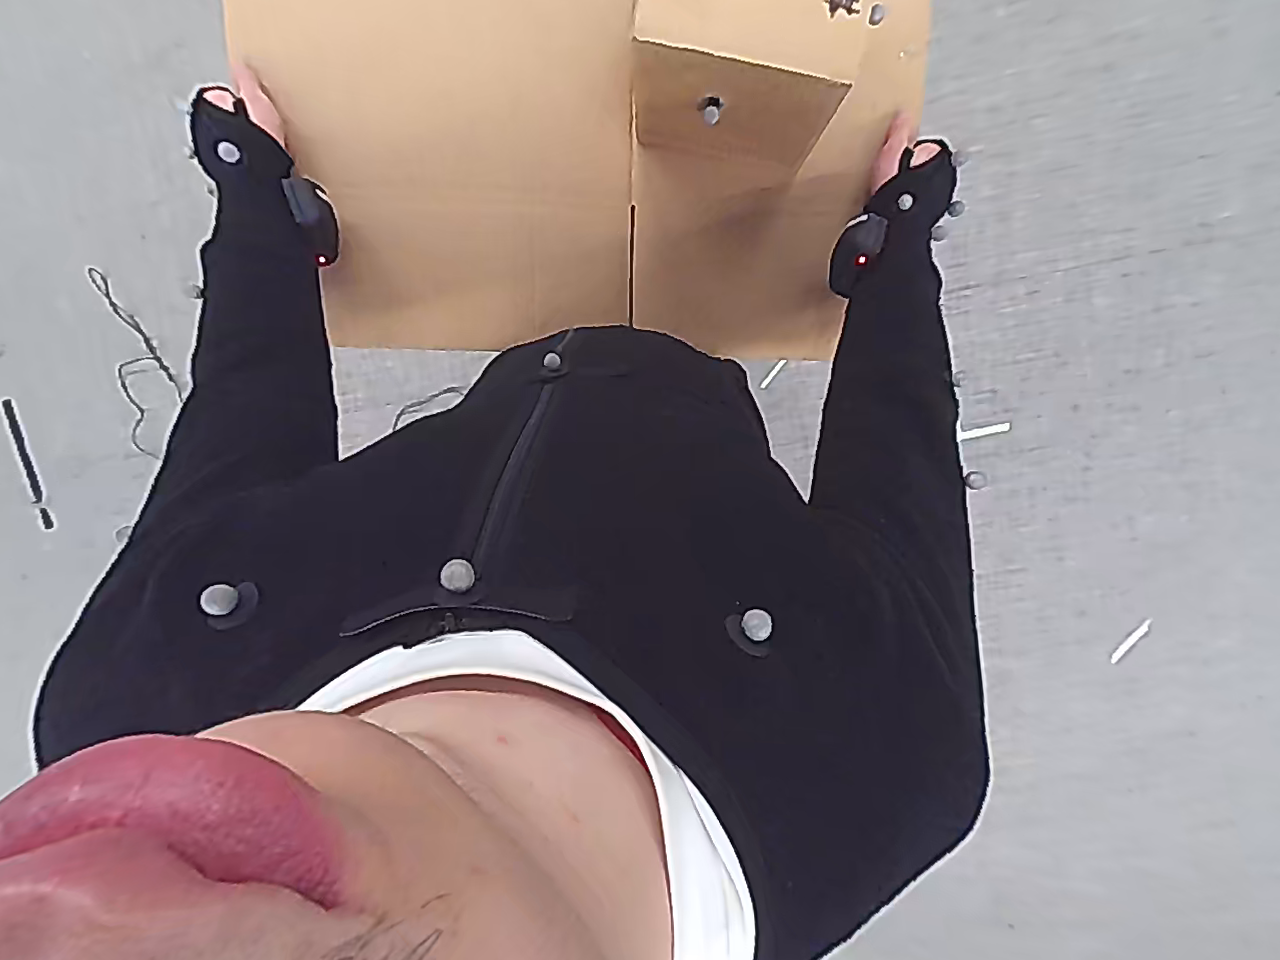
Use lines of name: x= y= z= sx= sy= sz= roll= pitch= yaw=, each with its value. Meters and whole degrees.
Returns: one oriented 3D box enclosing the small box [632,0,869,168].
small box: x=0.097 y=-0.411 z=0.486 sx=0.179 sy=0.176 sz=0.168 roll=12 pitch=99 yaw=1
